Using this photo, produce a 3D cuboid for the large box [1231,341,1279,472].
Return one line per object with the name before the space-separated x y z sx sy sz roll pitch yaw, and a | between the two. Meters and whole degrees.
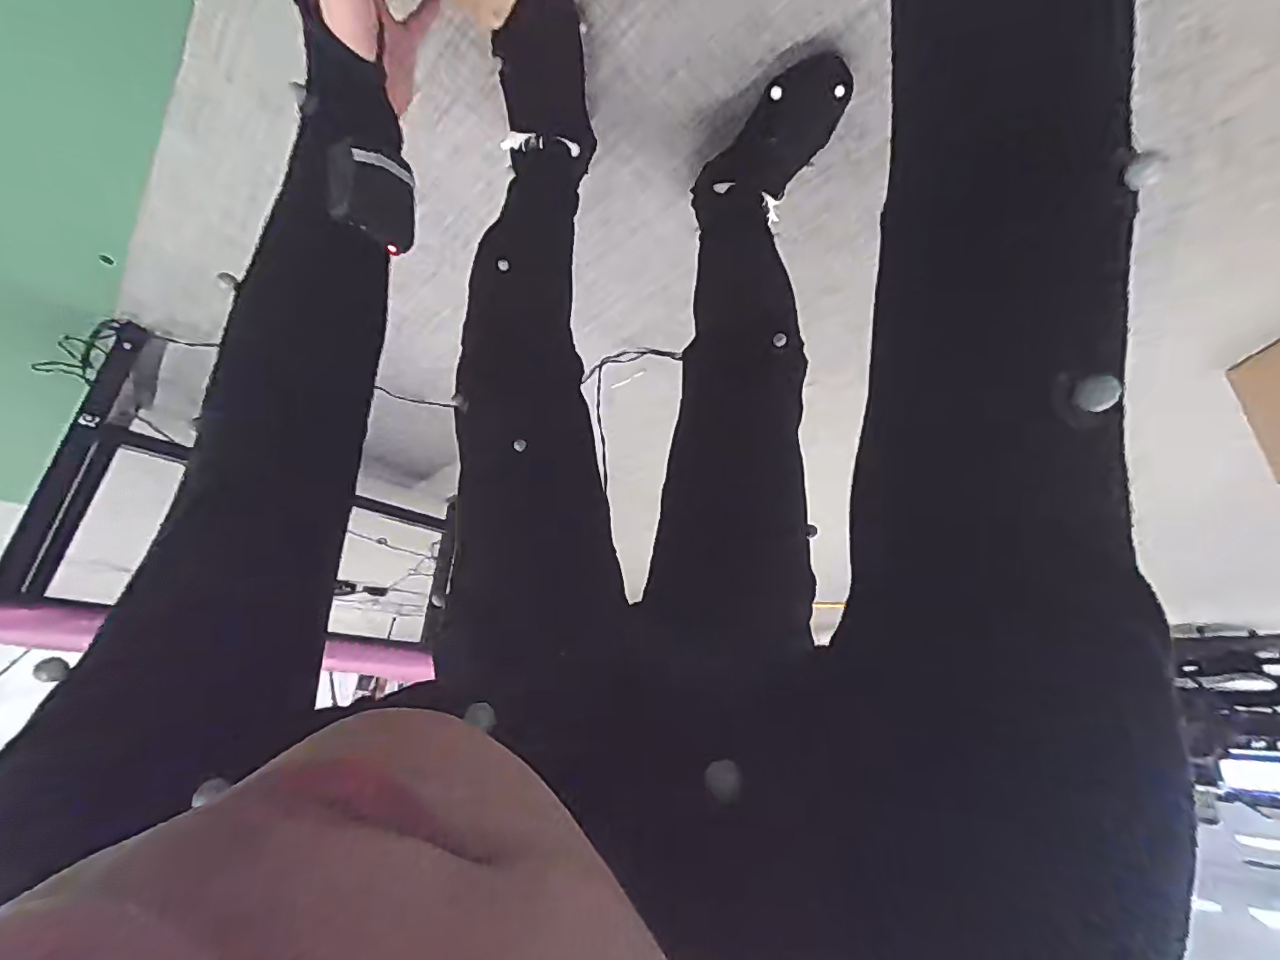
large box | 1.577 -0.207 1.077 0.320 0.320 0.408 1 155 1
